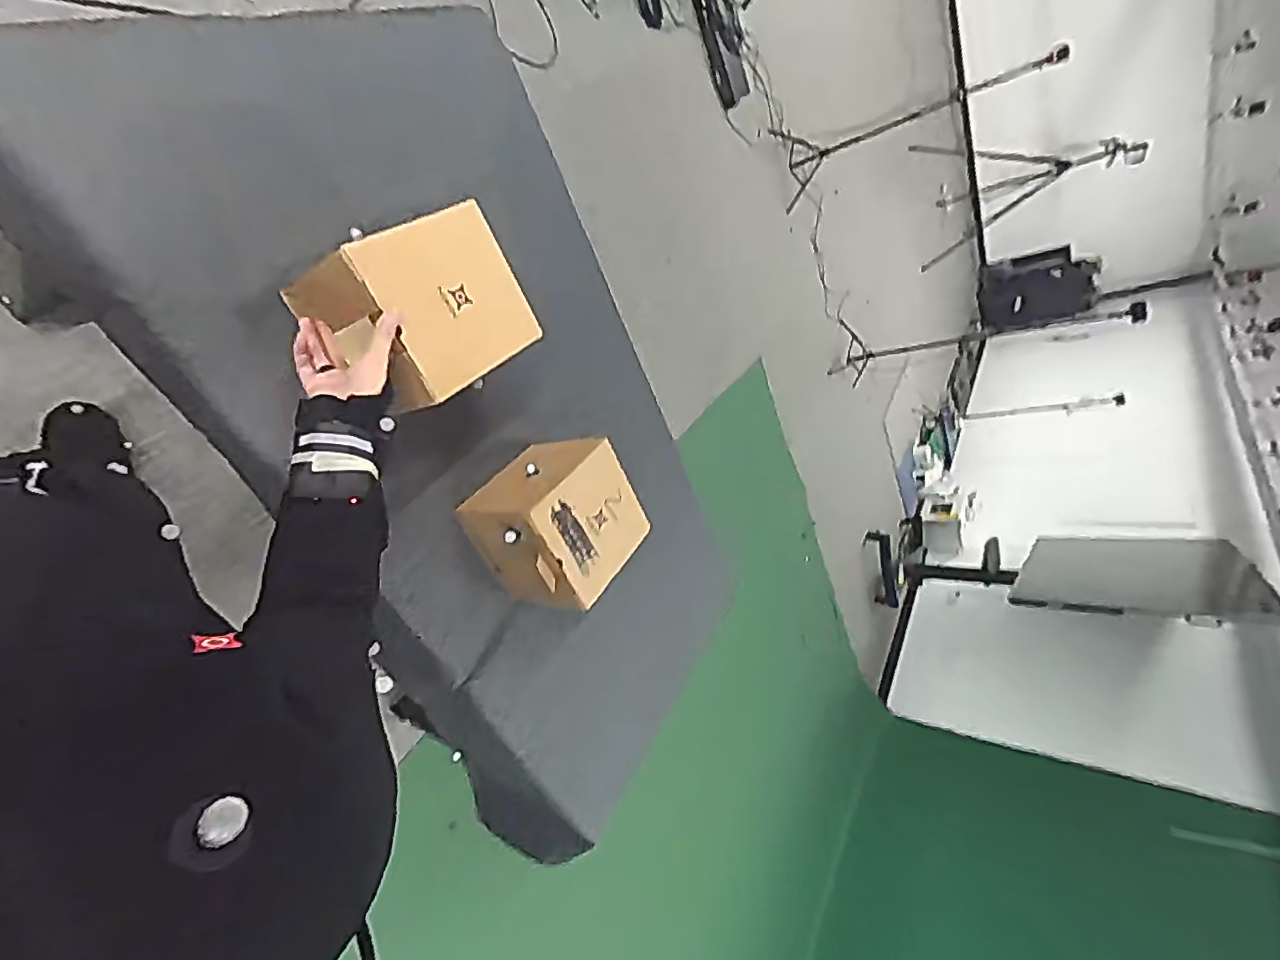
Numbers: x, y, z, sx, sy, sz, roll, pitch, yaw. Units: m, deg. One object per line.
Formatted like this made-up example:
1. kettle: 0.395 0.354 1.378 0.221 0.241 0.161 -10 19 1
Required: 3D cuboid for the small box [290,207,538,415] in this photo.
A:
1. small box: -0.261 -0.192 0.637 0.179 0.176 0.168 -48 124 -38
